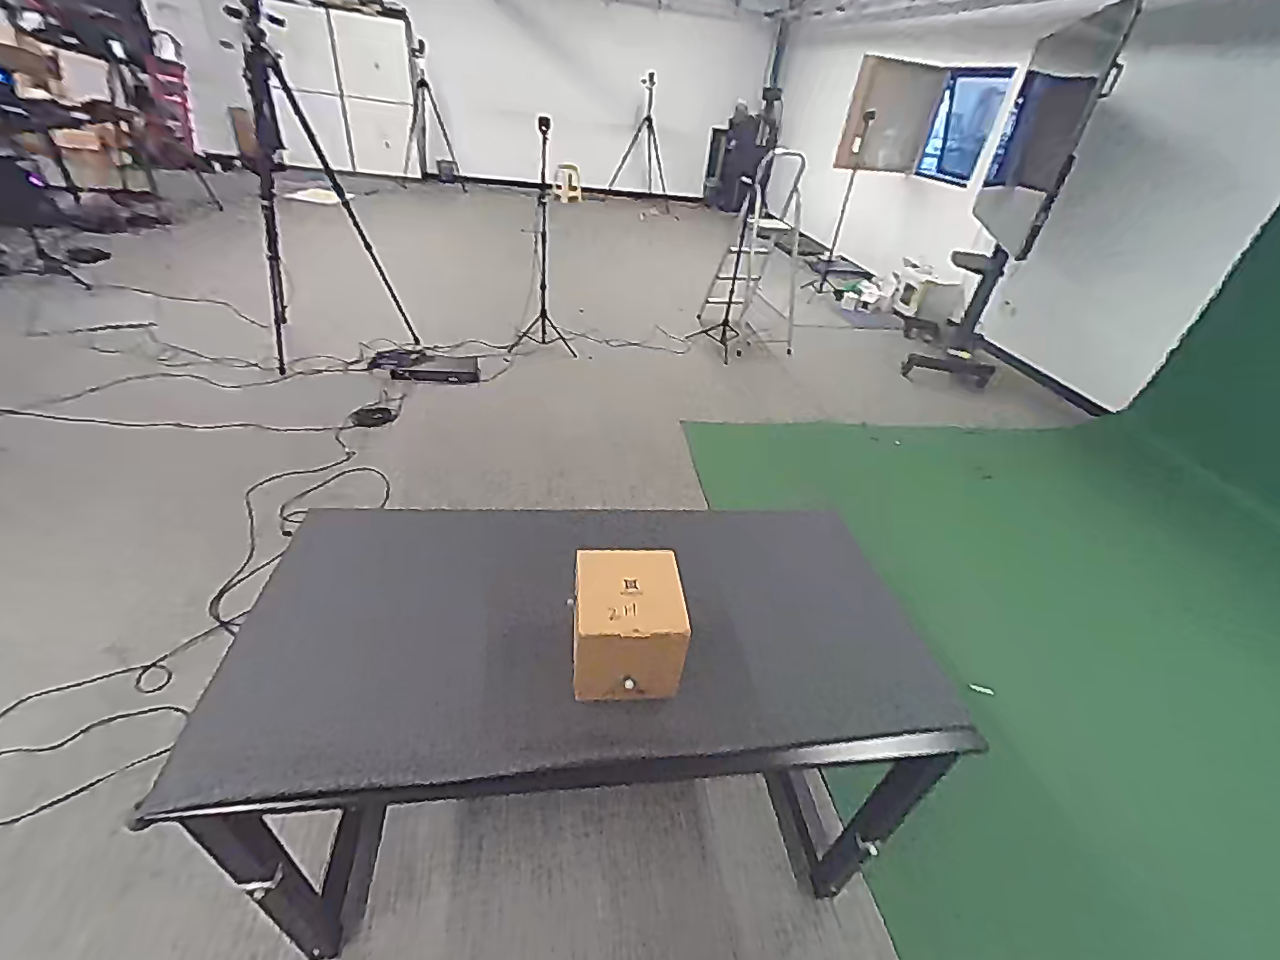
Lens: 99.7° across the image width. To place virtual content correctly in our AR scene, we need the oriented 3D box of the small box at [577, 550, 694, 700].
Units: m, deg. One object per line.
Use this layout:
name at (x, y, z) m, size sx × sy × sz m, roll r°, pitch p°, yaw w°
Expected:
small box at (-0.018, 0.235, 0.889) m, size 0.168 × 0.176 × 0.179 m, roll 0°, pitch 36°, yaw -8°
